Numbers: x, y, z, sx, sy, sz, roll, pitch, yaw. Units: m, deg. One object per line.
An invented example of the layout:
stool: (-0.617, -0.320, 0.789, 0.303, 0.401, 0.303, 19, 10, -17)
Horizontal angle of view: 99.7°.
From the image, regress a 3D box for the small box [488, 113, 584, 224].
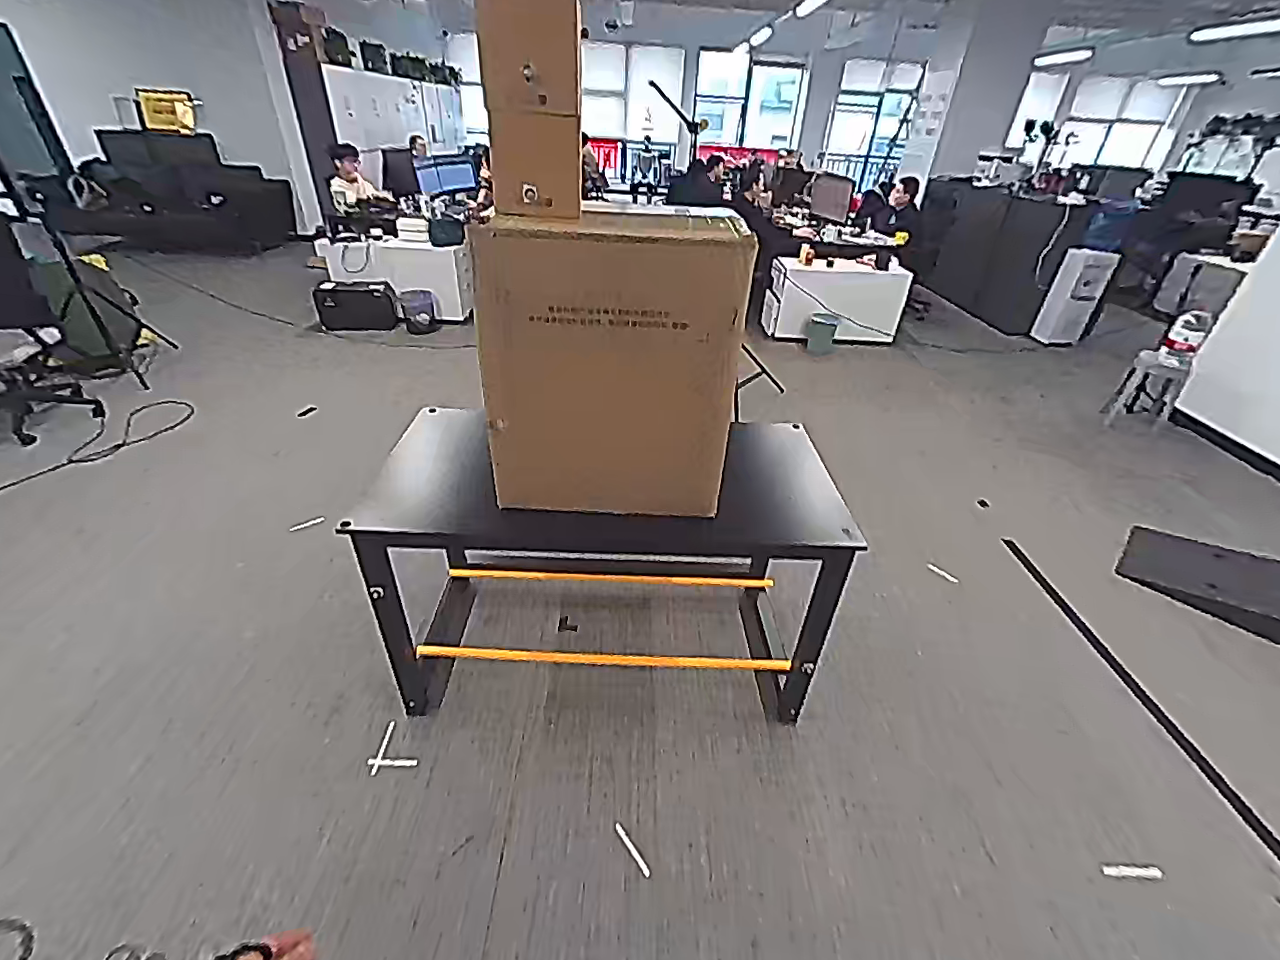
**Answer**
small box: (-0.196, -0.612, 1.057, 0.168, 0.176, 0.179, -1, 36, -6)

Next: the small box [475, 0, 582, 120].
small box: (-0.189, -0.747, 0.963, 0.168, 0.176, 0.179, 0, 34, -4)
